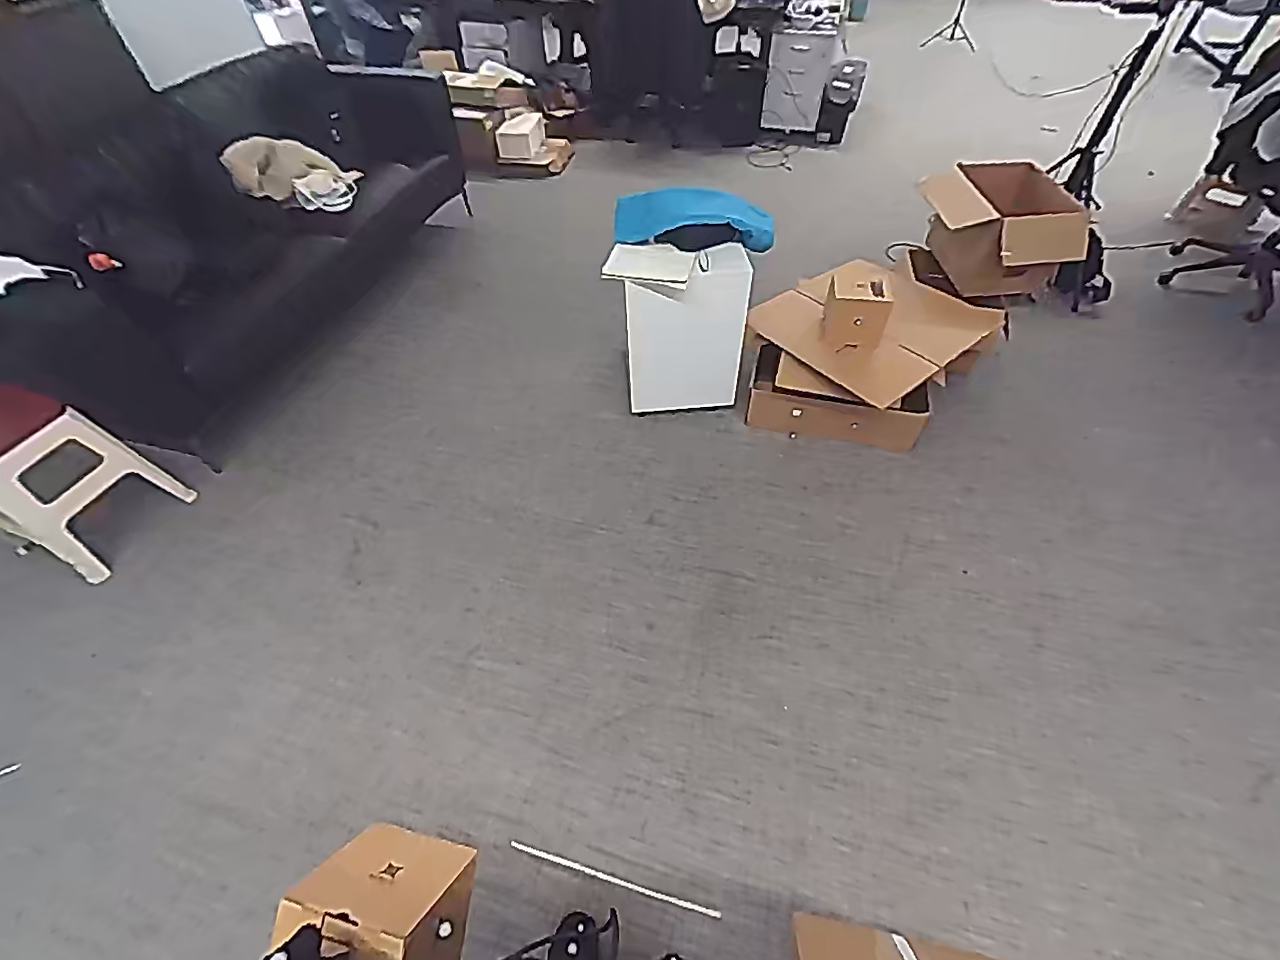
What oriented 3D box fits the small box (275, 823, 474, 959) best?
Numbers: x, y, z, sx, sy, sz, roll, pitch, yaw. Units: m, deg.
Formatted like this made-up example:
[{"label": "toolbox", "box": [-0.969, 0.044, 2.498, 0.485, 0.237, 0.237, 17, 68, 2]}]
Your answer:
[{"label": "small box", "box": [-0.339, 0.586, 0.688, 0.168, 0.179, 0.176, 8, 86, 11]}]
